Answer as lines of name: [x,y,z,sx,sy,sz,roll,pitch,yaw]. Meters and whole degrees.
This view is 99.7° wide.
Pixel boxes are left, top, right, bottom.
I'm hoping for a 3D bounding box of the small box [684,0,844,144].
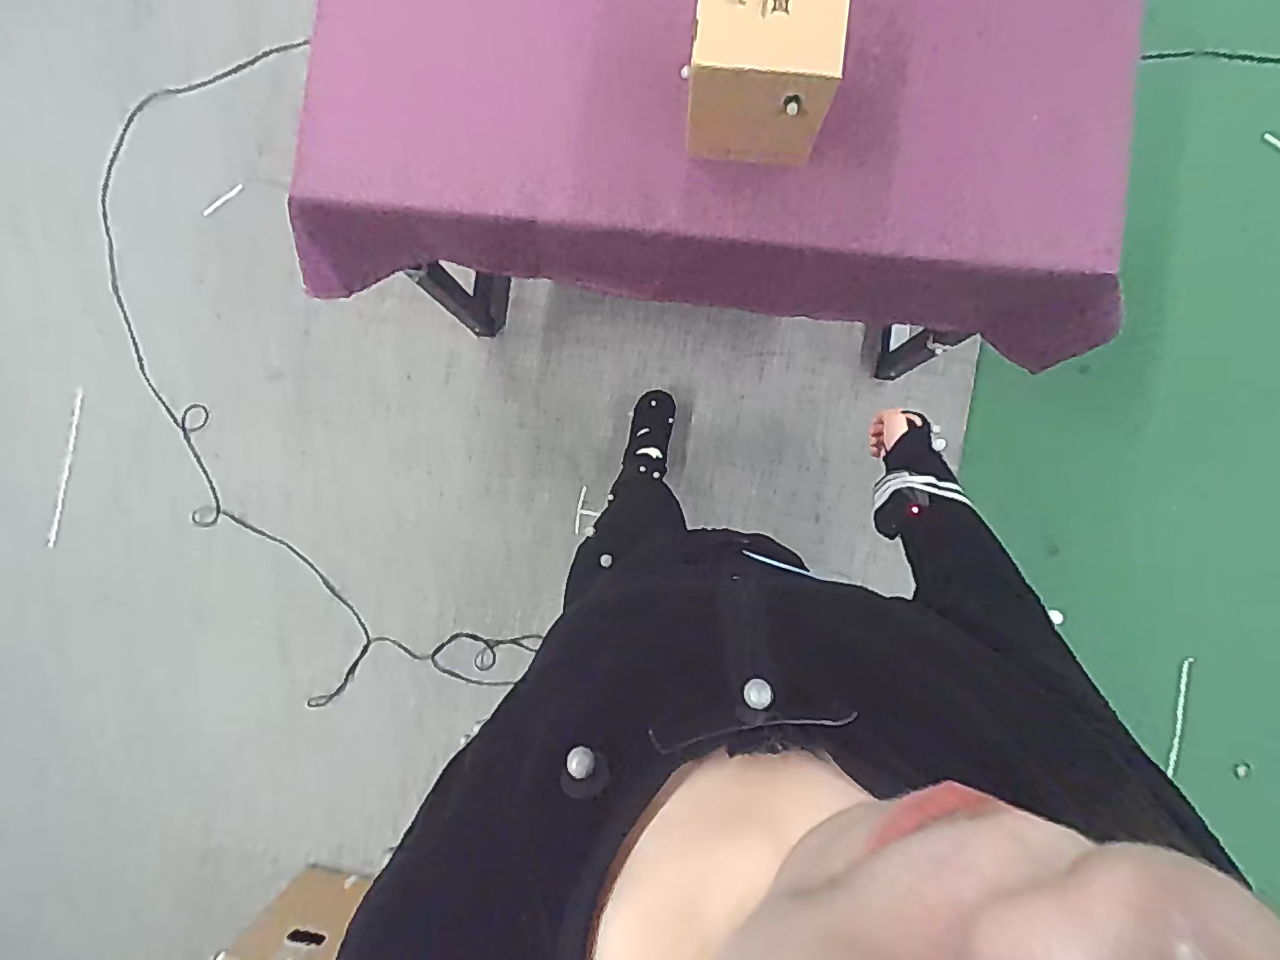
small box: [0.155,-0.575,0.707,0.179,0.176,0.168,7,88,3]
